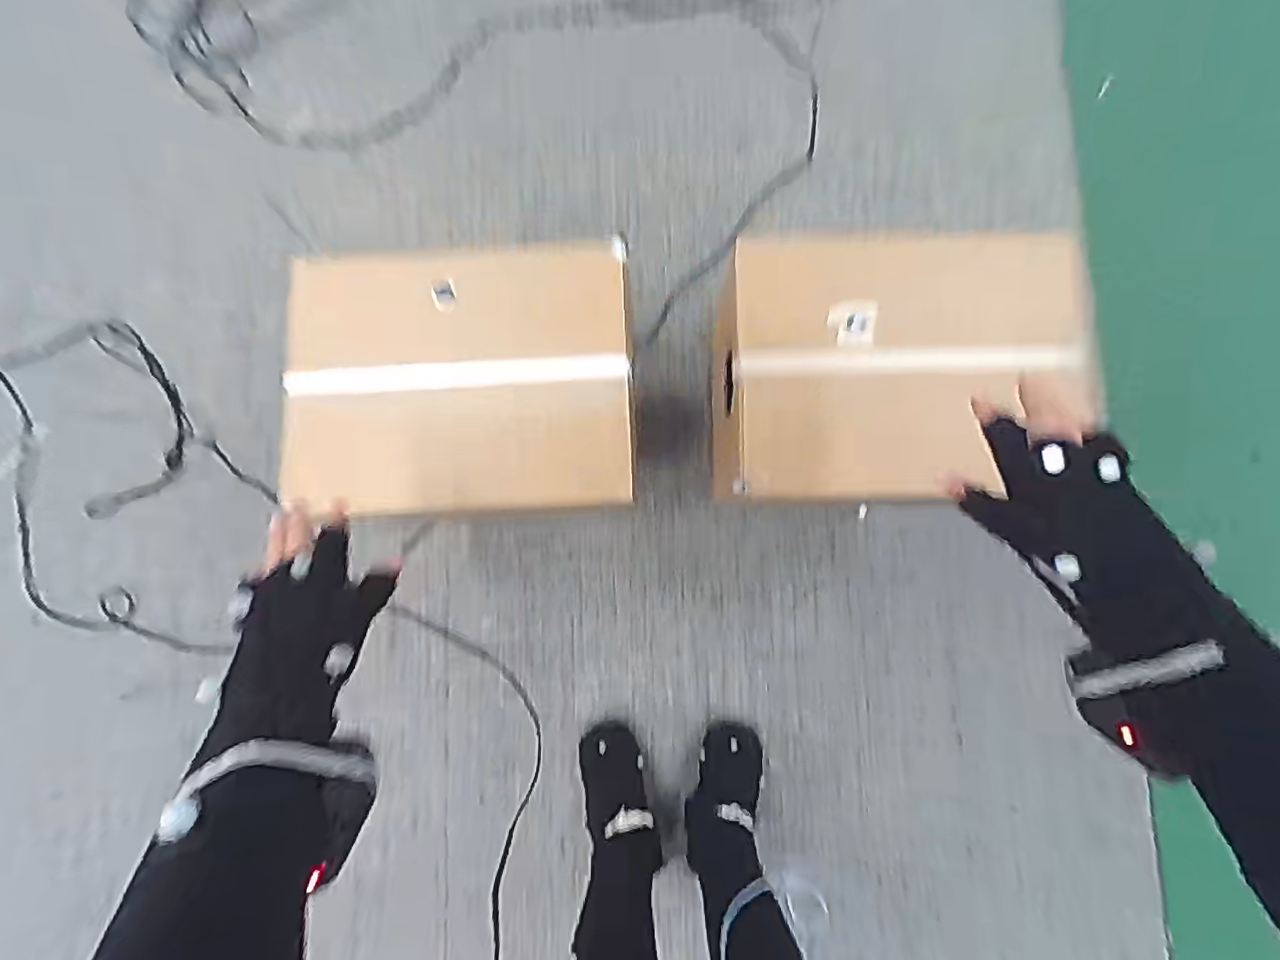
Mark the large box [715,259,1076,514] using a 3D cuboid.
[{"bbox_3d":[0.329,-0.107,0.812,0.408,0.320,0.320,0,84,2],"label":"large box"}]
